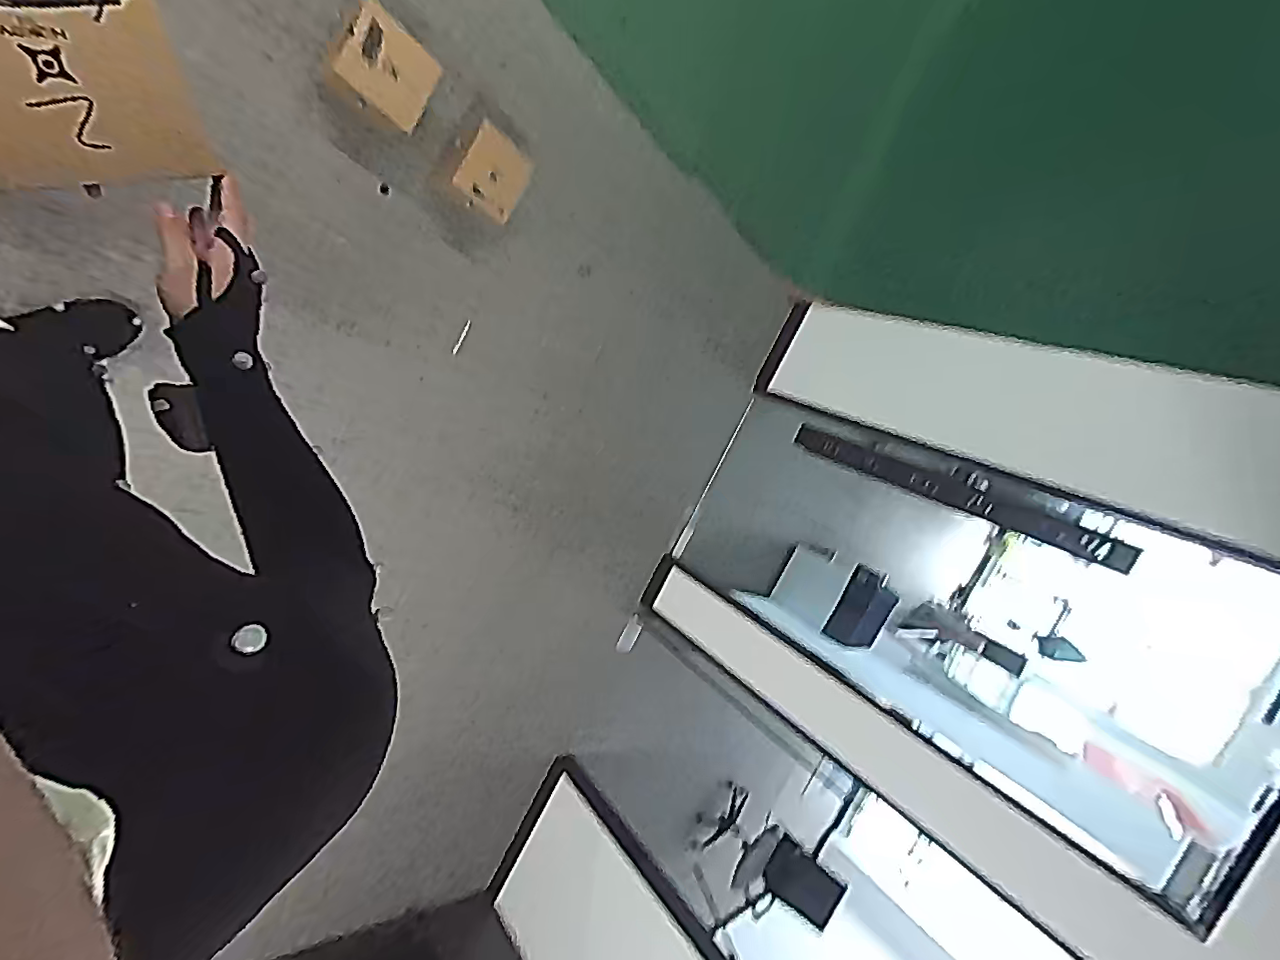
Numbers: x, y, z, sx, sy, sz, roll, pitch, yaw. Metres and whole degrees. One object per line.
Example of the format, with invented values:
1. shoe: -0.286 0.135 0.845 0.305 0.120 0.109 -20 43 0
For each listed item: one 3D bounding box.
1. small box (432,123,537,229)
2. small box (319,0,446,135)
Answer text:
1. small box: -0.408 -0.786 1.402 0.168 0.176 0.179 29 91 -48
2. small box: -0.570 -0.889 1.186 0.179 0.176 0.168 26 94 -48
